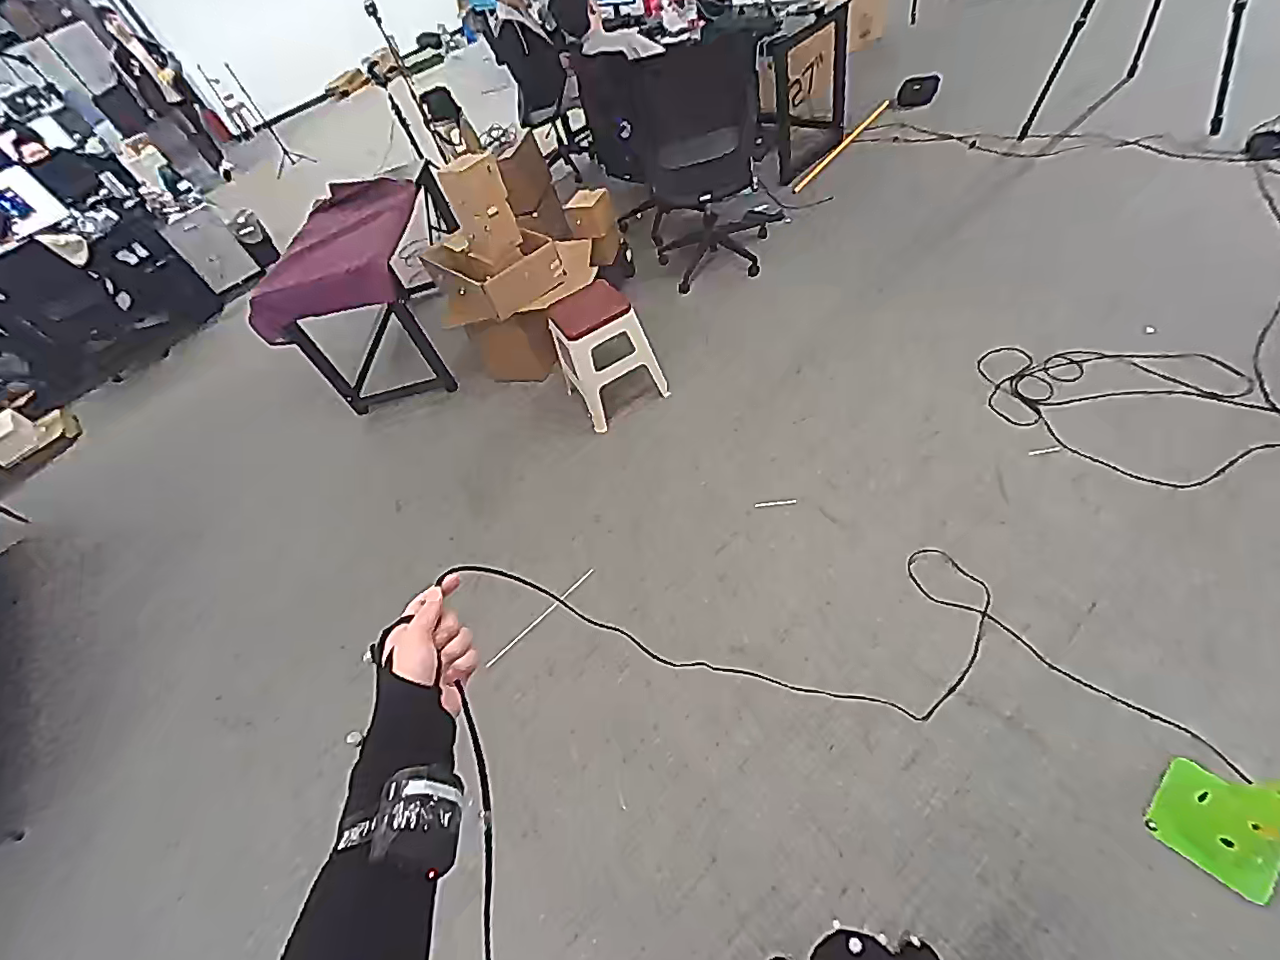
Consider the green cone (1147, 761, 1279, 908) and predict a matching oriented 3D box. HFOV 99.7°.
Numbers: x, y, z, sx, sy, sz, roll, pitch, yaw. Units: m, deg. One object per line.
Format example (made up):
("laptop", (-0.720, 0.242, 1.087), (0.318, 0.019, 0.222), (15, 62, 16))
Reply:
("green cone", (1.172, 0.622, 1.000), (0.202, 0.368, 0.200), (-43, 52, -19))
